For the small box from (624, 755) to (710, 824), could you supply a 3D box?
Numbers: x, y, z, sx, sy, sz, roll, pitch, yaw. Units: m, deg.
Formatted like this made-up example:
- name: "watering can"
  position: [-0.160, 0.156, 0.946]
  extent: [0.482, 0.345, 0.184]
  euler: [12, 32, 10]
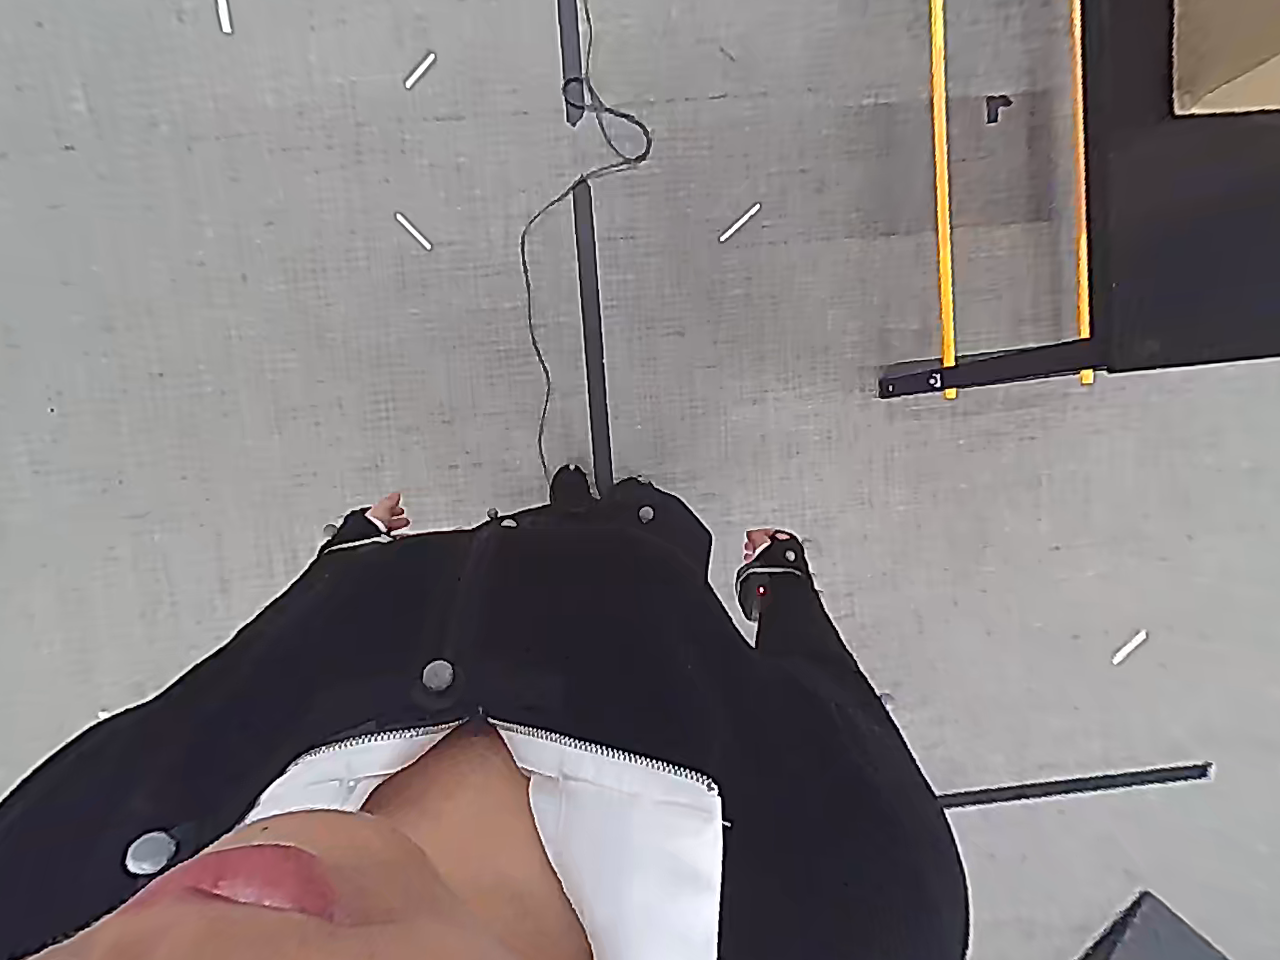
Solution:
- name: "small box"
  position: [0.054, 0.704, 1.141]
  extent: [0.168, 0.176, 0.179]
  euler: [-4, 95, -3]
